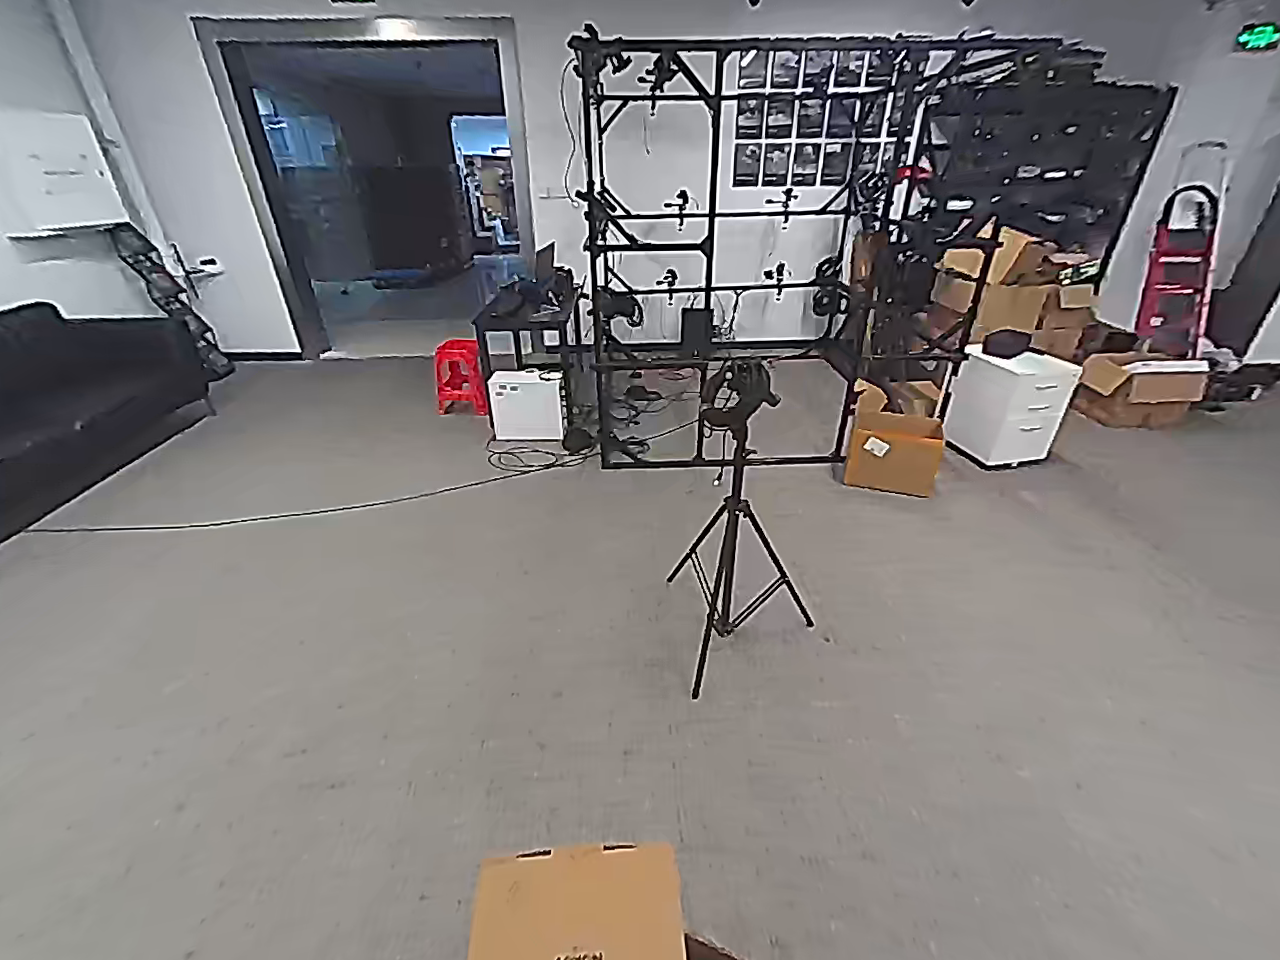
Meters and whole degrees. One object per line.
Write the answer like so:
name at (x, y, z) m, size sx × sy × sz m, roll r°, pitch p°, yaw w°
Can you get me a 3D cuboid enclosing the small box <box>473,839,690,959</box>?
small box at (-0.047, 0.428, 0.443) m, size 0.168 × 0.176 × 0.179 m, roll -1°, pitch 39°, yaw -5°
